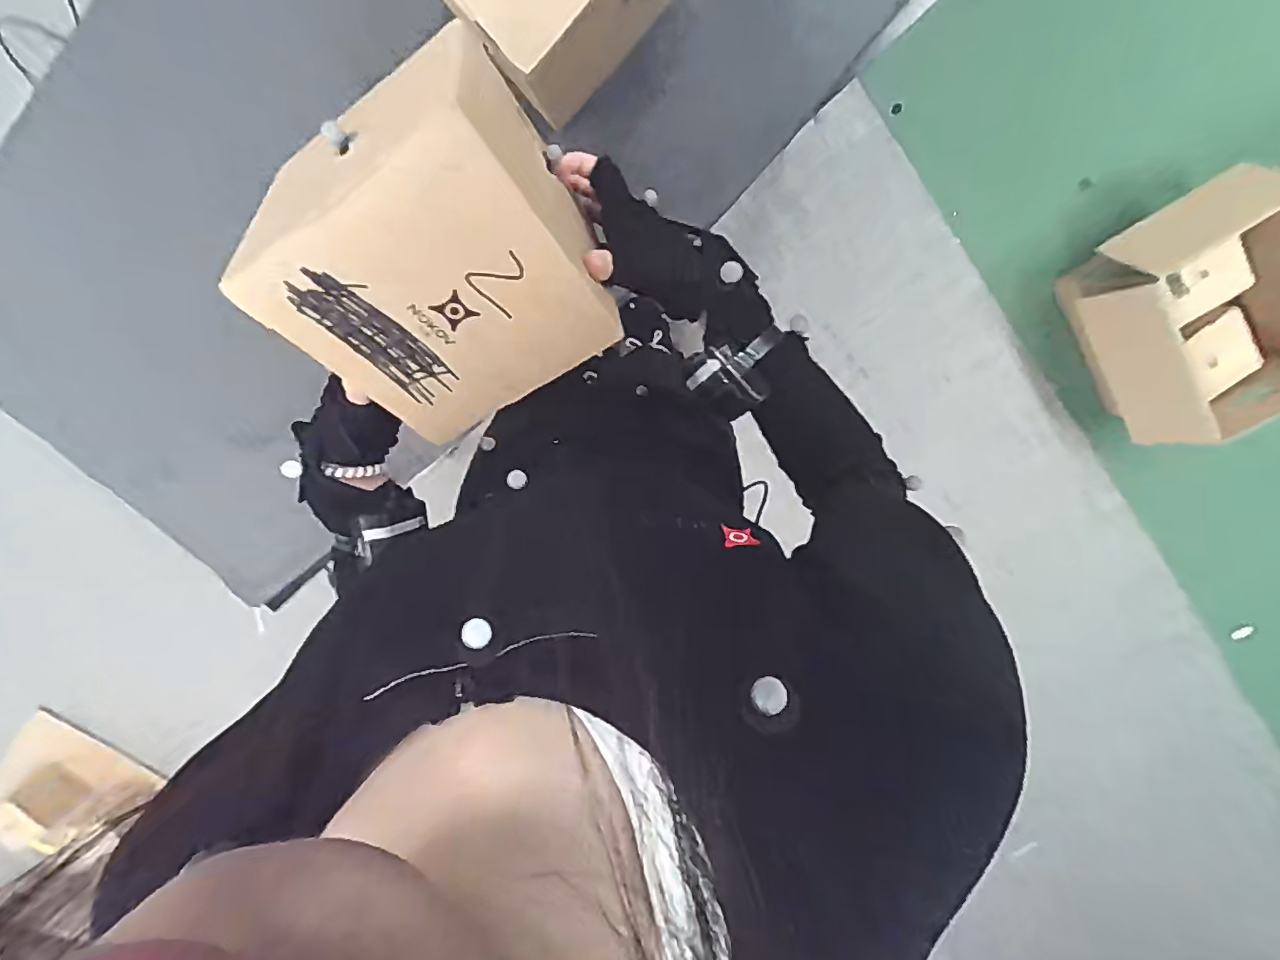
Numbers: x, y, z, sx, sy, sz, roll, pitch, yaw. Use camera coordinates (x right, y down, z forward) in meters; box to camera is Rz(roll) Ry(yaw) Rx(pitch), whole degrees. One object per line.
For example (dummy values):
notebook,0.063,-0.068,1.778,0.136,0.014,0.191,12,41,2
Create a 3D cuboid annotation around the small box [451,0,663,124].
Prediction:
small box,-0.085,-0.481,0.499,0.179,0.176,0.168,-41,103,15
